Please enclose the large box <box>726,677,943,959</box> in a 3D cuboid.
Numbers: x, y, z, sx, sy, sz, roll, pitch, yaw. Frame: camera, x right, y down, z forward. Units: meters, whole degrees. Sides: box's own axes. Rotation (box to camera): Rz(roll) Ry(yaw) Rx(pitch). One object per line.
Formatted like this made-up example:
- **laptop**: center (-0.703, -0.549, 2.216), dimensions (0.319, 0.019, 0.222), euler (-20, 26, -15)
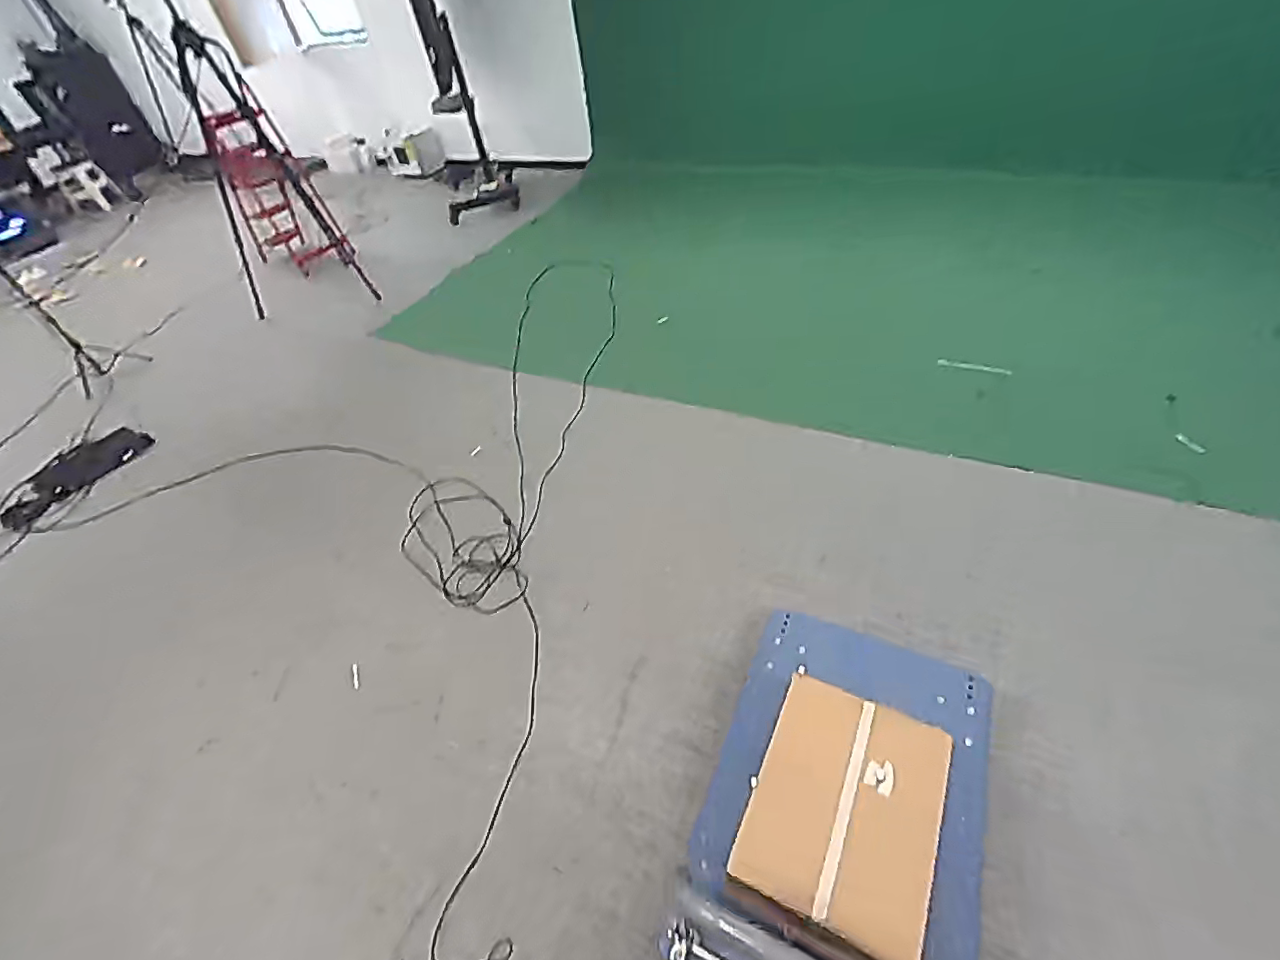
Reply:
- **large box**: center (0.388, 0.703, 1.105), dimensions (0.320, 0.320, 0.408), euler (18, 51, 23)
